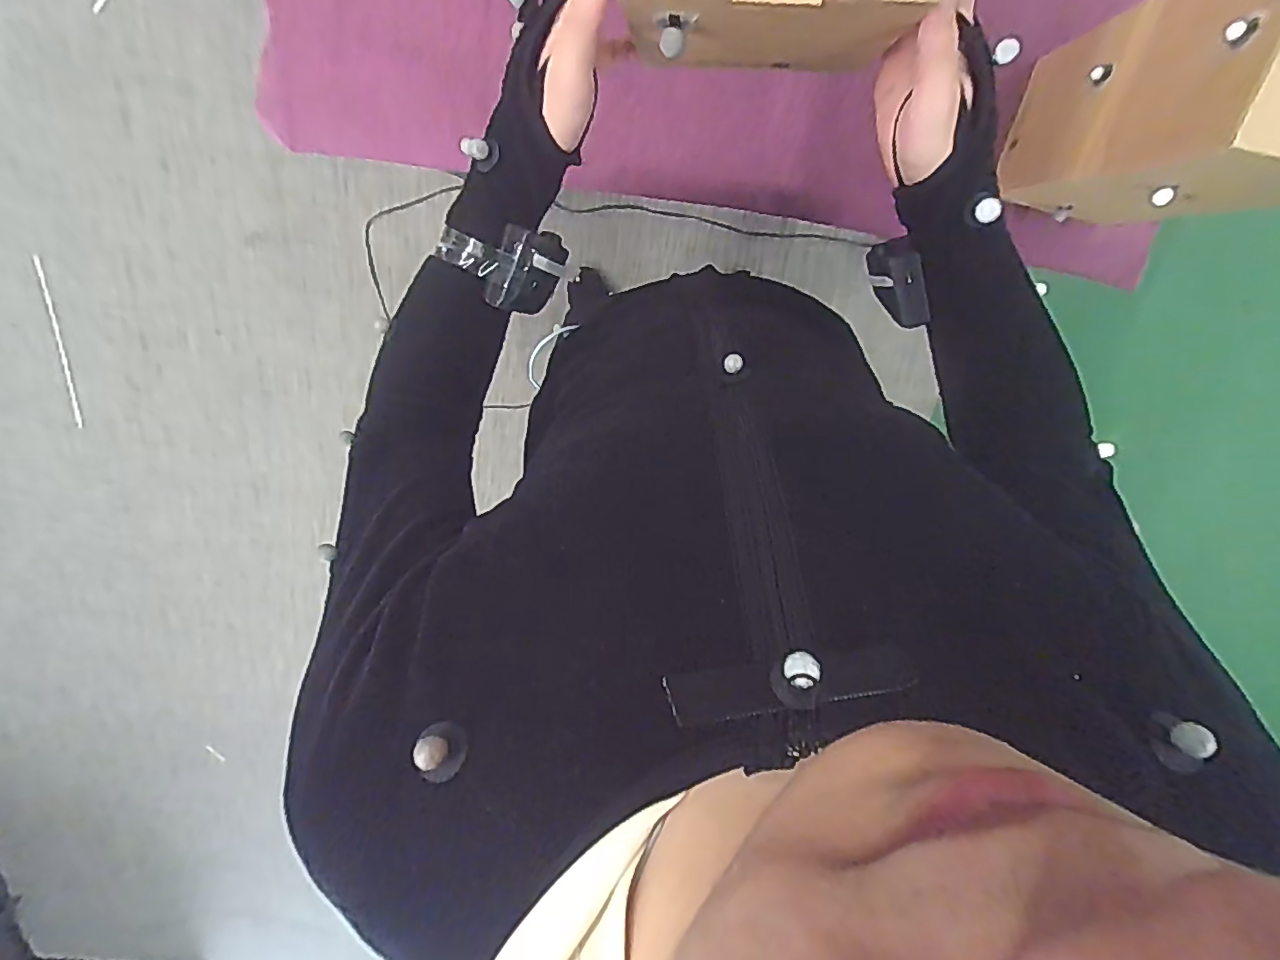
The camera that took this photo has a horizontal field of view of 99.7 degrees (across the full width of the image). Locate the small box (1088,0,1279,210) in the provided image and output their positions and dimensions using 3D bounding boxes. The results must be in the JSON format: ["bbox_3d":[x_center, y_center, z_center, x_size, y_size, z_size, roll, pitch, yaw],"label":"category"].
[{"bbox_3d":[0.578,-0.367,0.498,0.168,0.176,0.179,12,111,-3],"label":"small box"}]

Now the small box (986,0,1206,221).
[{"bbox_3d":[0.574,-0.421,0.652,0.179,0.176,0.168,11,110,-5],"label":"small box"}]
